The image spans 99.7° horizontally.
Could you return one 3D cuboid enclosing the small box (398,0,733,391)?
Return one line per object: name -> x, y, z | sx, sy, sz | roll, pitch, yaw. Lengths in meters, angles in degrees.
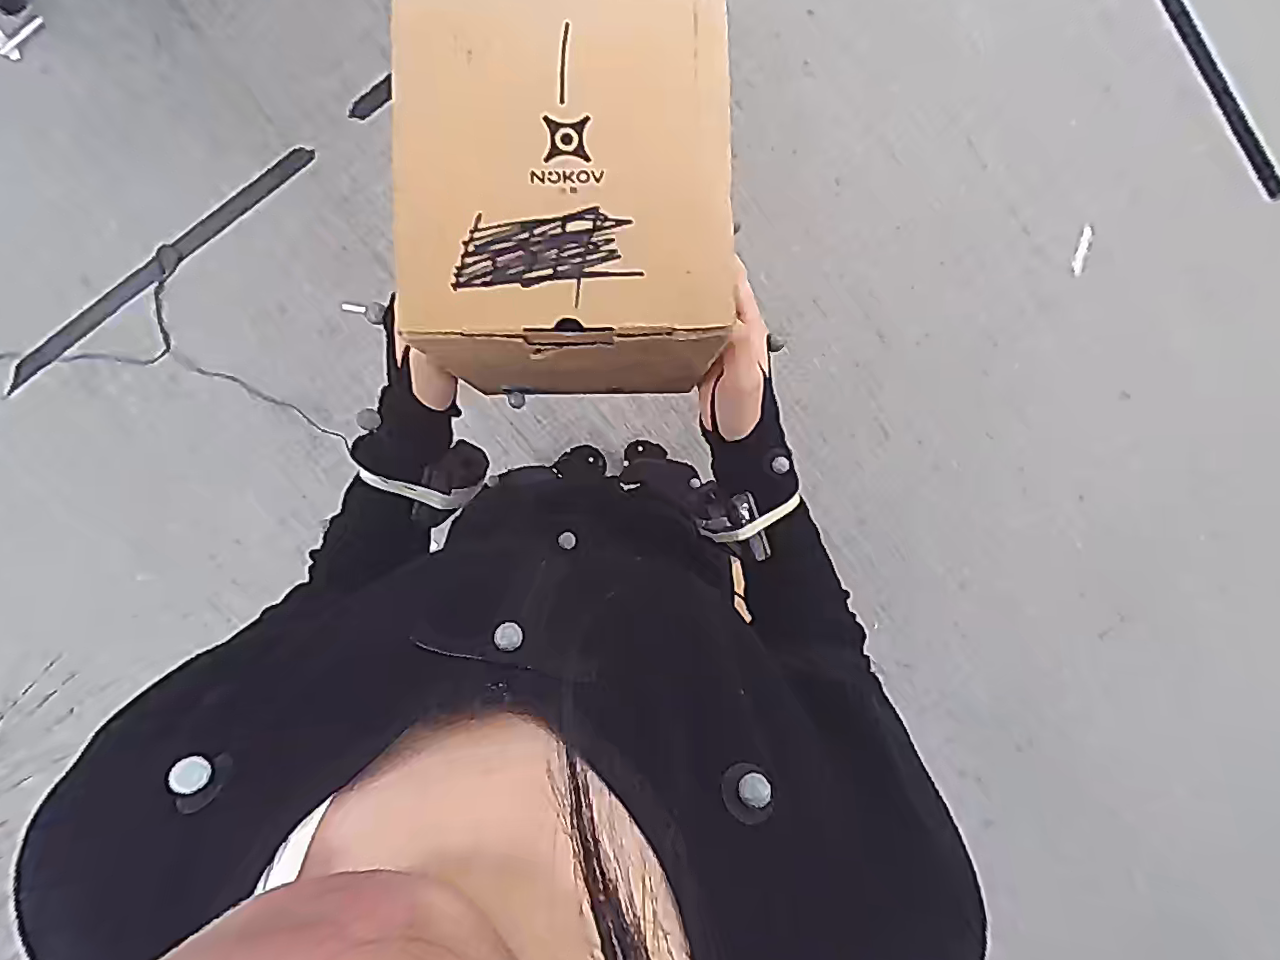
small box -> -0.038, -0.154, 0.348 | 0.168, 0.176, 0.179 | -2, 89, -3
